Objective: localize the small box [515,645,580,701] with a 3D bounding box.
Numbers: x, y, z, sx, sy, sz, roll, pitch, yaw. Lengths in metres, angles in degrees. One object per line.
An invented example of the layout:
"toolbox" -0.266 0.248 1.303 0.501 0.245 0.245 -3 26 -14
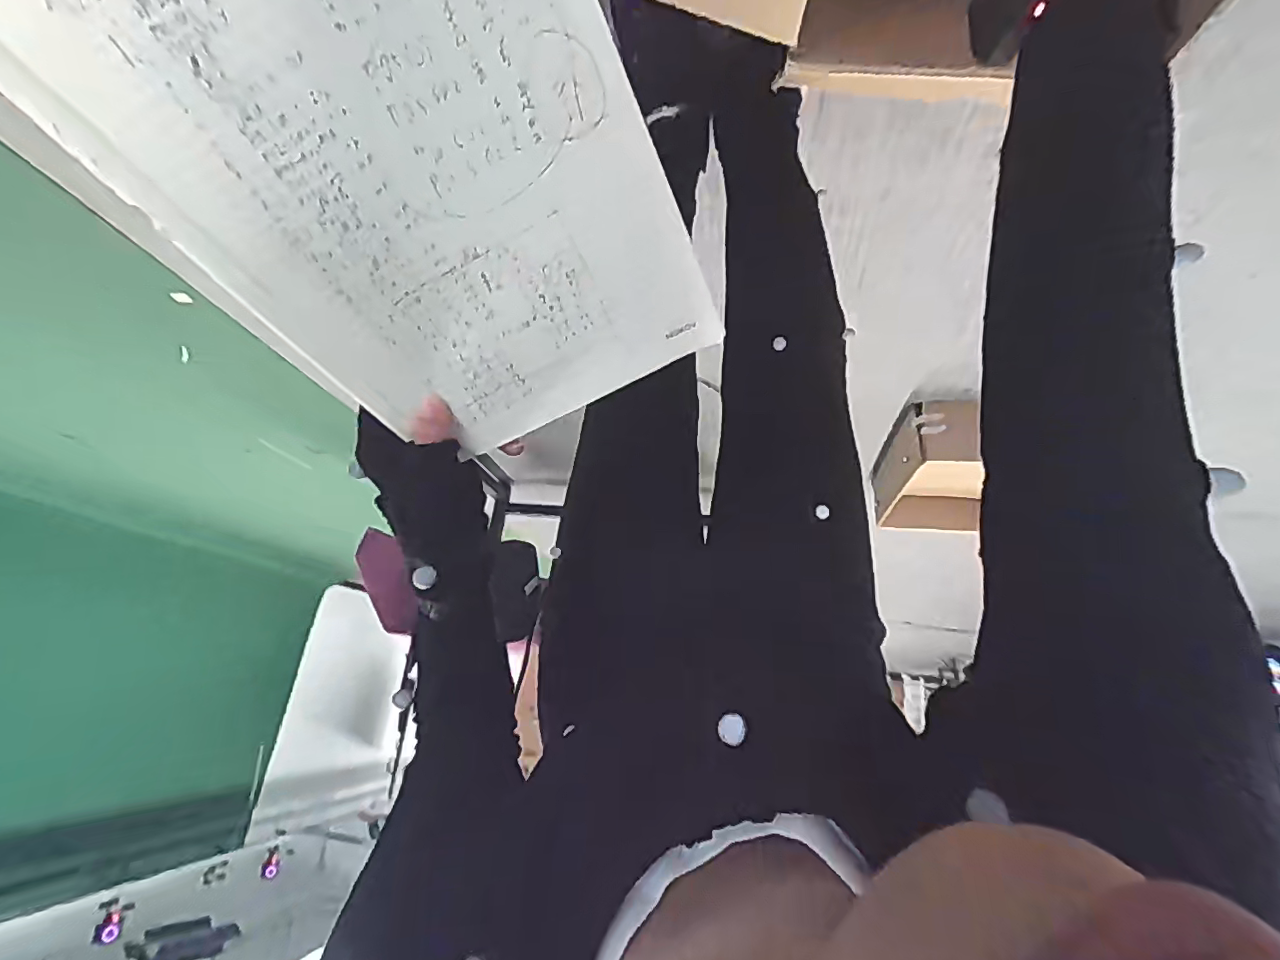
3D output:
"small box" -0.316 0.667 1.868 0.168 0.176 0.179 2 159 12

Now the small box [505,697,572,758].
"small box" -0.334 0.822 1.815 0.168 0.176 0.179 3 159 8
